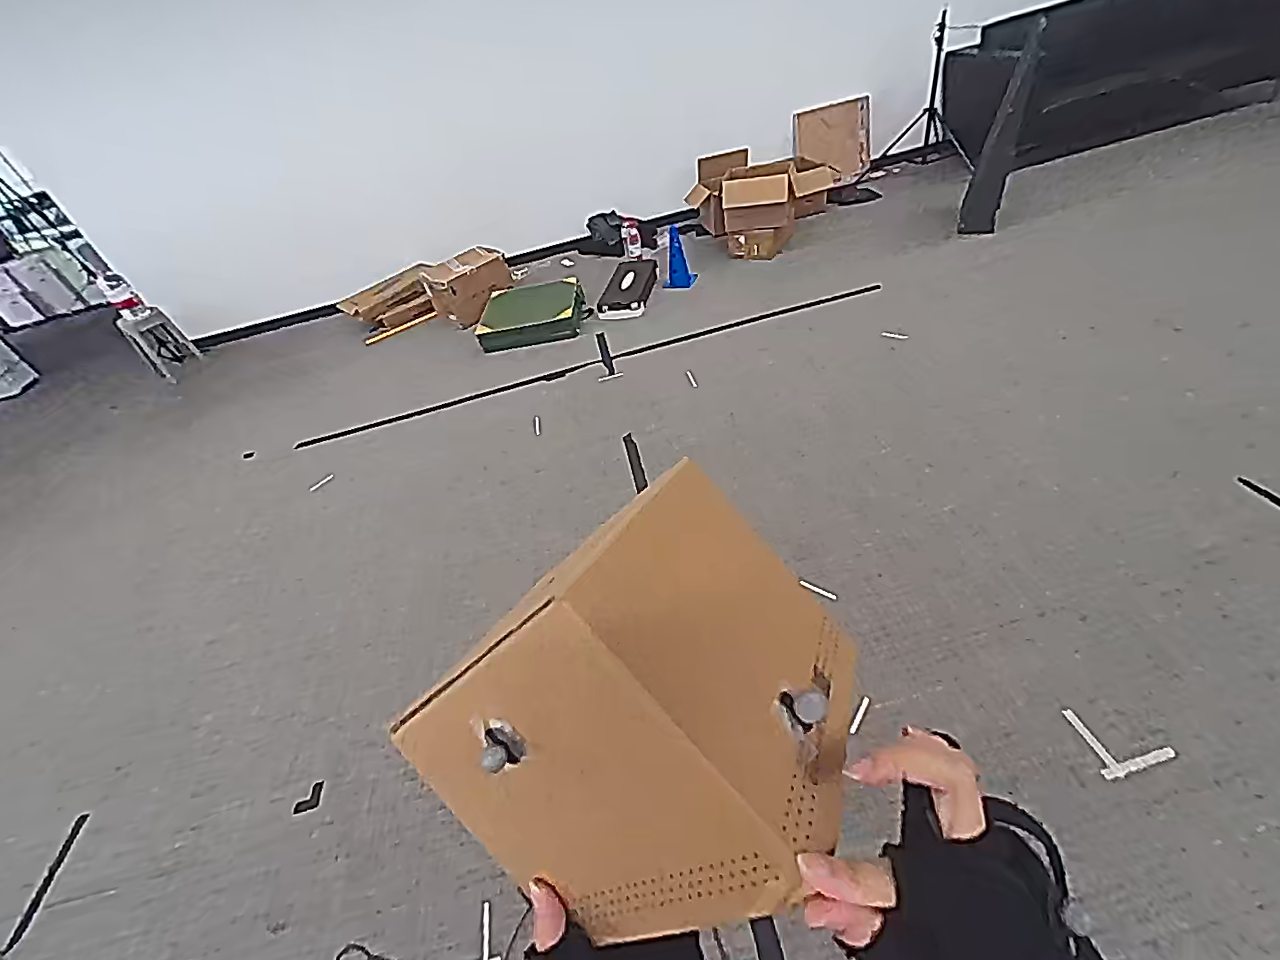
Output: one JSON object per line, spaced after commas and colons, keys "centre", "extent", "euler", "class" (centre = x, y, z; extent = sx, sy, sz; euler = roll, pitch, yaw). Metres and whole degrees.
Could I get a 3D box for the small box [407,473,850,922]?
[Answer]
{"centre": [0.000, 0.132, 0.340], "extent": [0.179, 0.176, 0.168], "euler": [-42, 1, 33], "class": "small box"}
